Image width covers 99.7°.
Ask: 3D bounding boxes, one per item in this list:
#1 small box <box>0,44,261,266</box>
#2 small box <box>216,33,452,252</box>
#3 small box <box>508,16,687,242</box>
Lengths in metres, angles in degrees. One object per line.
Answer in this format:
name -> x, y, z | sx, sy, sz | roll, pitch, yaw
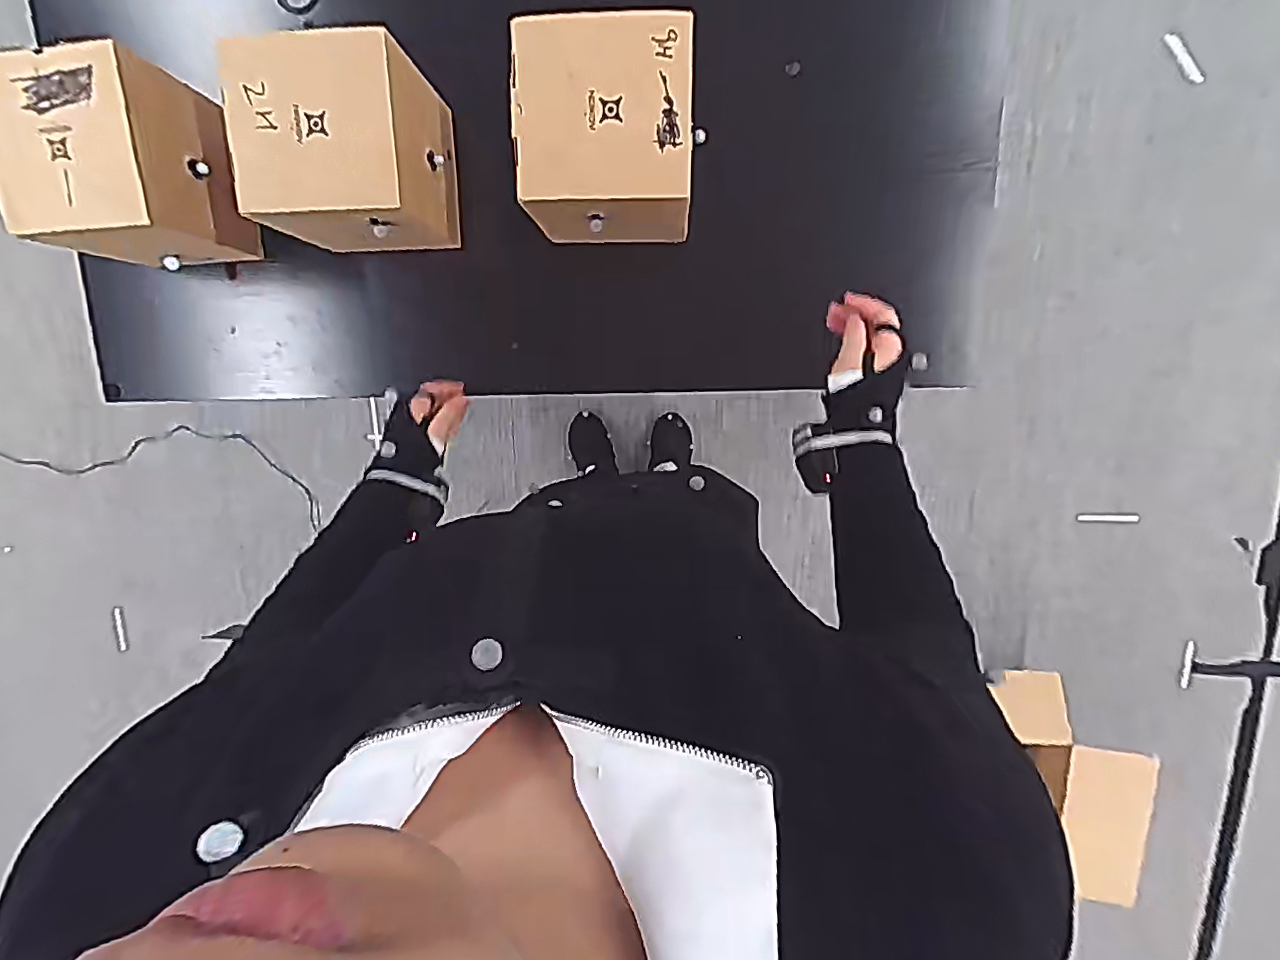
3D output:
small box -> -0.596, -0.366, 0.640 | 0.168, 0.176, 0.179 | -2, 101, 3
small box -> -0.330, -0.371, 0.625 | 0.179, 0.176, 0.168 | -1, 100, 3
small box -> -0.038, -0.375, 0.610 | 0.179, 0.176, 0.168 | 1, 100, 4
